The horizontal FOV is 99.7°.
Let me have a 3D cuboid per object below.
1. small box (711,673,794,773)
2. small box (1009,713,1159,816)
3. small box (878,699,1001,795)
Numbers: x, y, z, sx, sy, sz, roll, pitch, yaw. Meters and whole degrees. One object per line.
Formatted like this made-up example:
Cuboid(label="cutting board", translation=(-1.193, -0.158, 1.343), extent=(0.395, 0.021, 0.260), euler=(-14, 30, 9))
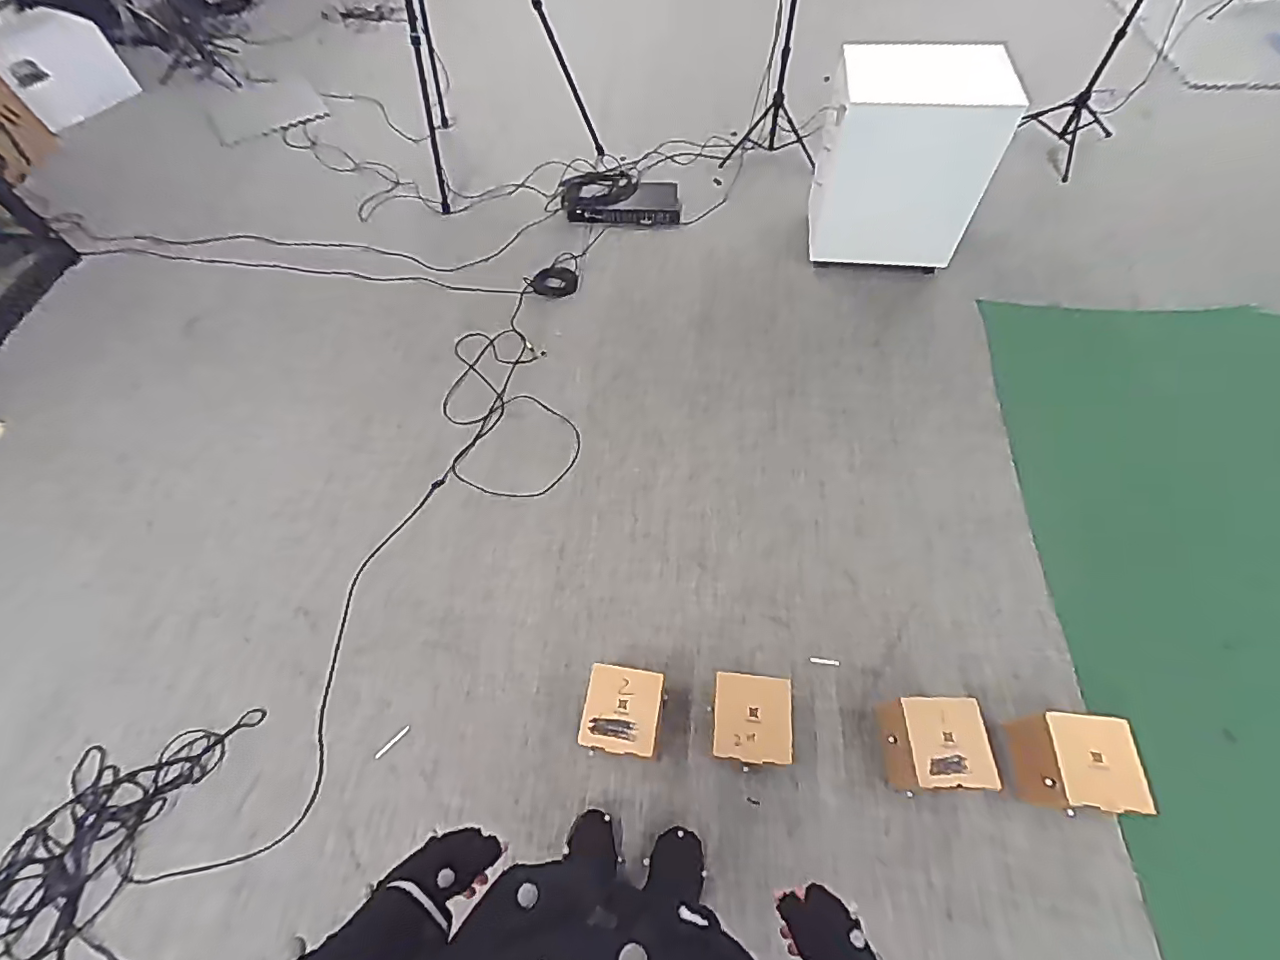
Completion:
Cuboid(label="small box", translation=(0.251, 0.557, 1.235), extent=(0.168, 0.176, 0.179), euler=(4, 59, 6))
Cuboid(label="small box", translation=(0.941, 0.617, 1.170), extent=(0.168, 0.176, 0.179), euler=(3, 59, 5))
Cuboid(label="small box", translation=(0.651, 0.593, 1.197), extent=(0.168, 0.176, 0.179), euler=(0, 58, 2))
